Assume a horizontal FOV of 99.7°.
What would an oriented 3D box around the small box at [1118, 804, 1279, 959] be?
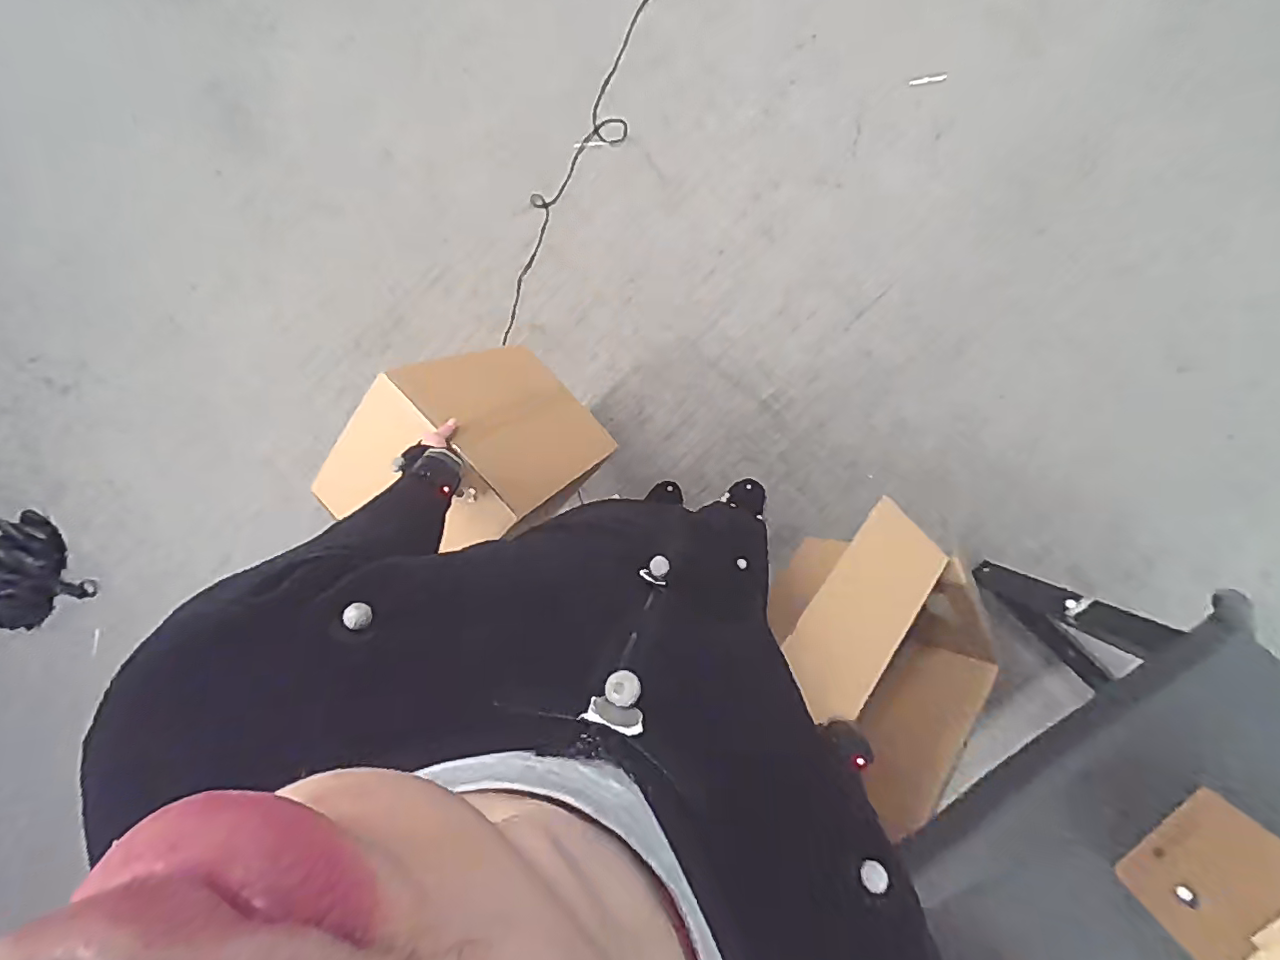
[{"bbox_3d":[0.728,0.518,0.623,0.179,0.176,0.168,39,99,5],"label":"small box"}]
